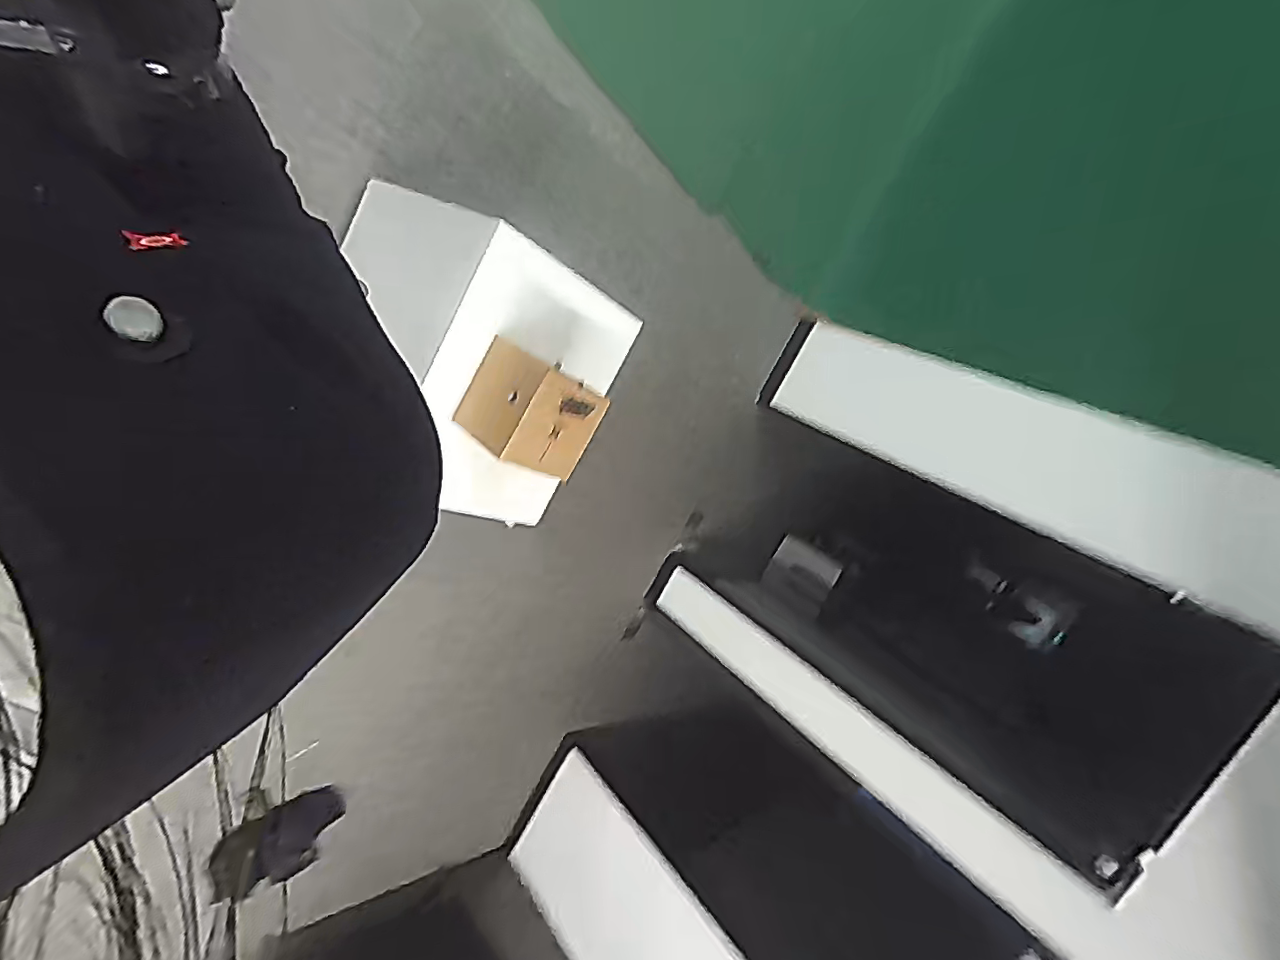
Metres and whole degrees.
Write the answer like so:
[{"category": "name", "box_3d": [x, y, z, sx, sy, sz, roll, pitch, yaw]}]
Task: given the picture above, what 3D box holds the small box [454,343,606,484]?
[{"category": "small box", "box_3d": [-0.201, -0.121, 0.968, 0.168, 0.176, 0.179, 22, 100, -53]}]
